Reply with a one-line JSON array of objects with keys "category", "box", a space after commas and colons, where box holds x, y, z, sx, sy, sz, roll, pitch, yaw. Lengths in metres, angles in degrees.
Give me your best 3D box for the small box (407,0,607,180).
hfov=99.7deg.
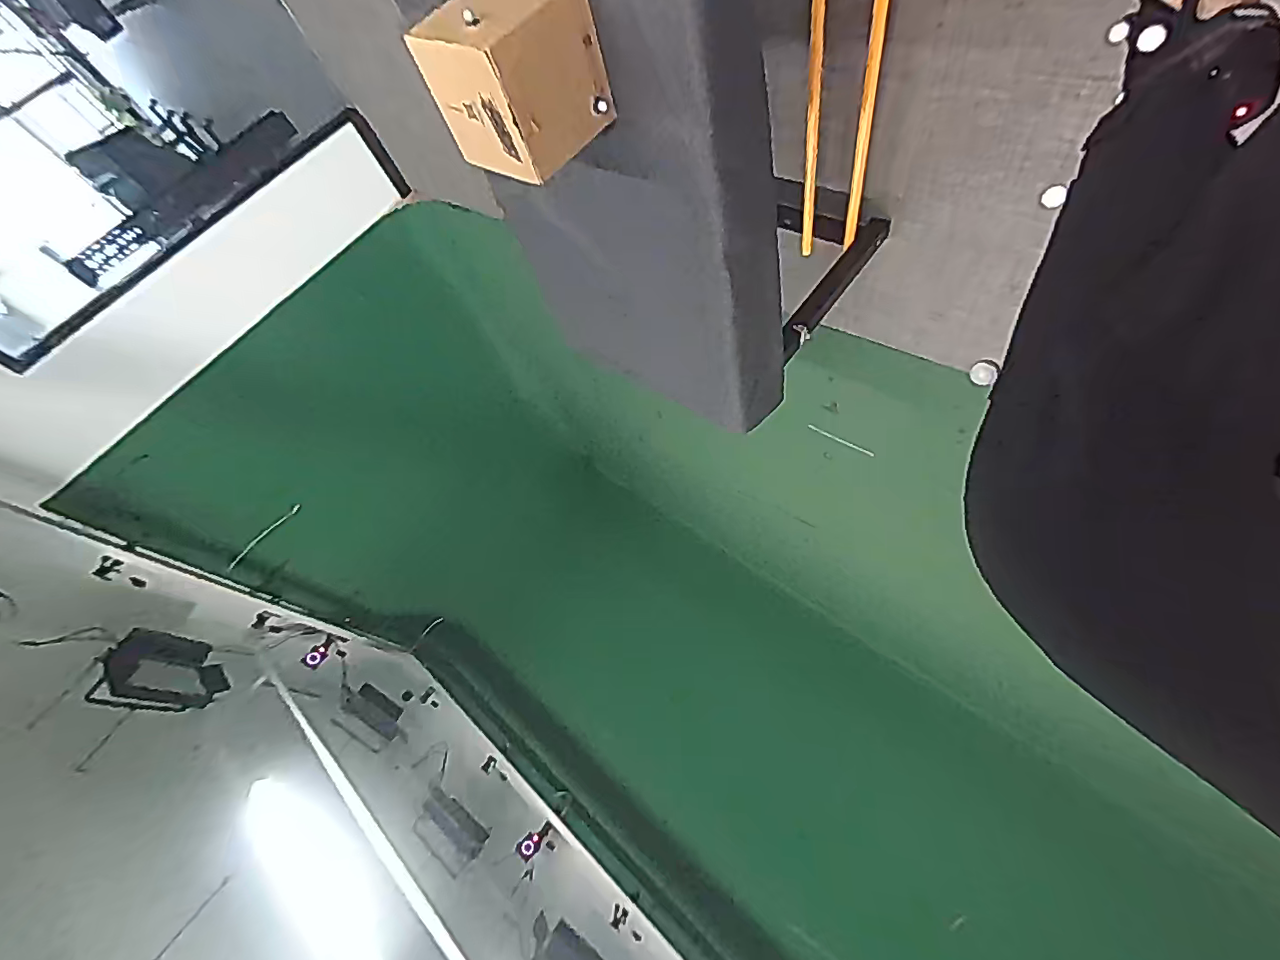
[{"category": "small box", "box": [-0.164, -0.550, 0.733, 0.179, 0.176, 0.168, 33, 164, 28]}]
